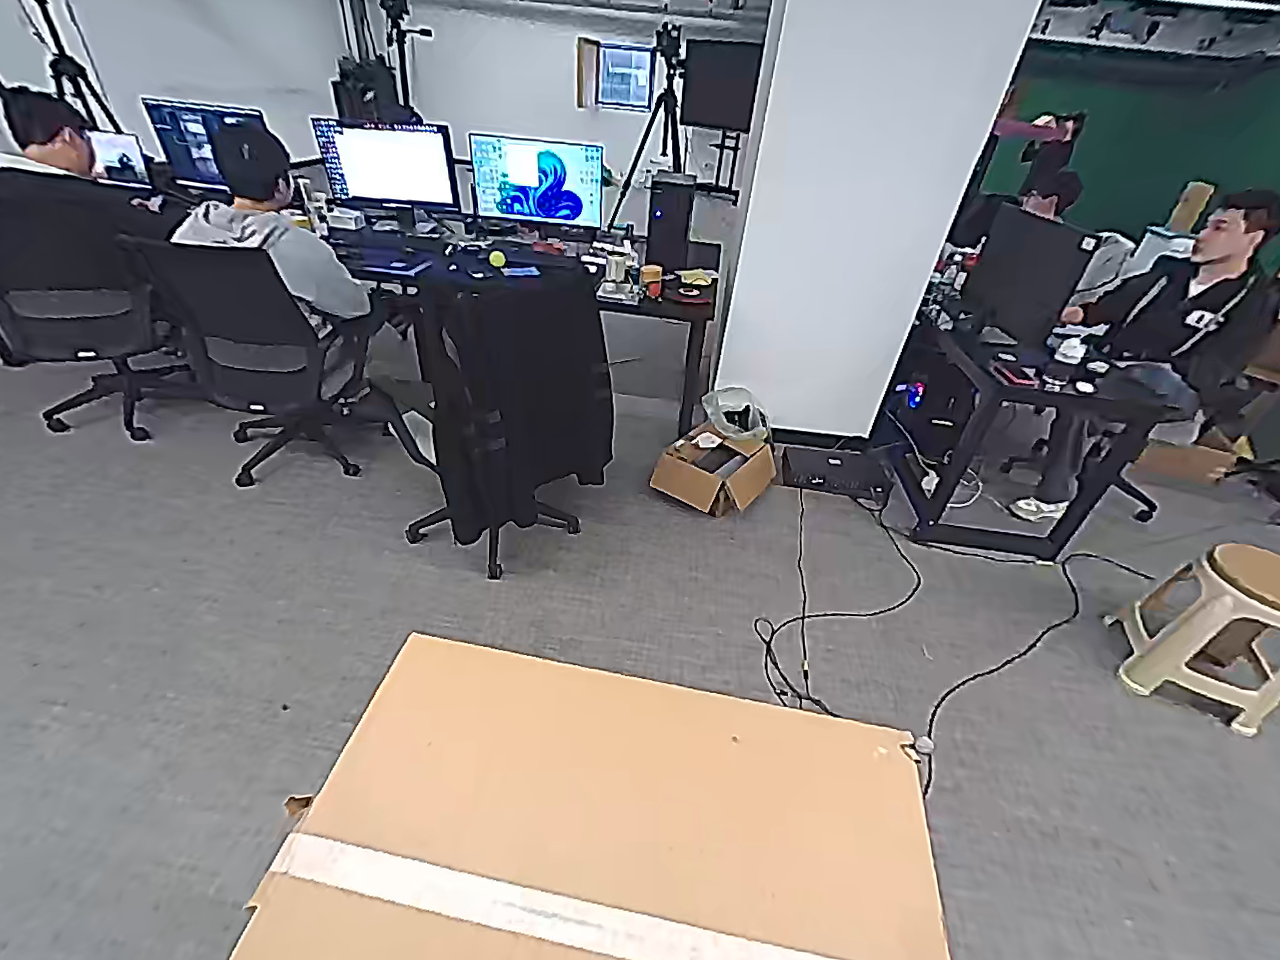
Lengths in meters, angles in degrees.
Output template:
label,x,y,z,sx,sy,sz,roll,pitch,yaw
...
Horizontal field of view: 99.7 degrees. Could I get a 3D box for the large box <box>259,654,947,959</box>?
label,x,y,z,sx,sy,sz,roll,pitch,yaw
large box,-0.025,0.382,0.426,0.408,0.320,0.320,10,44,5
